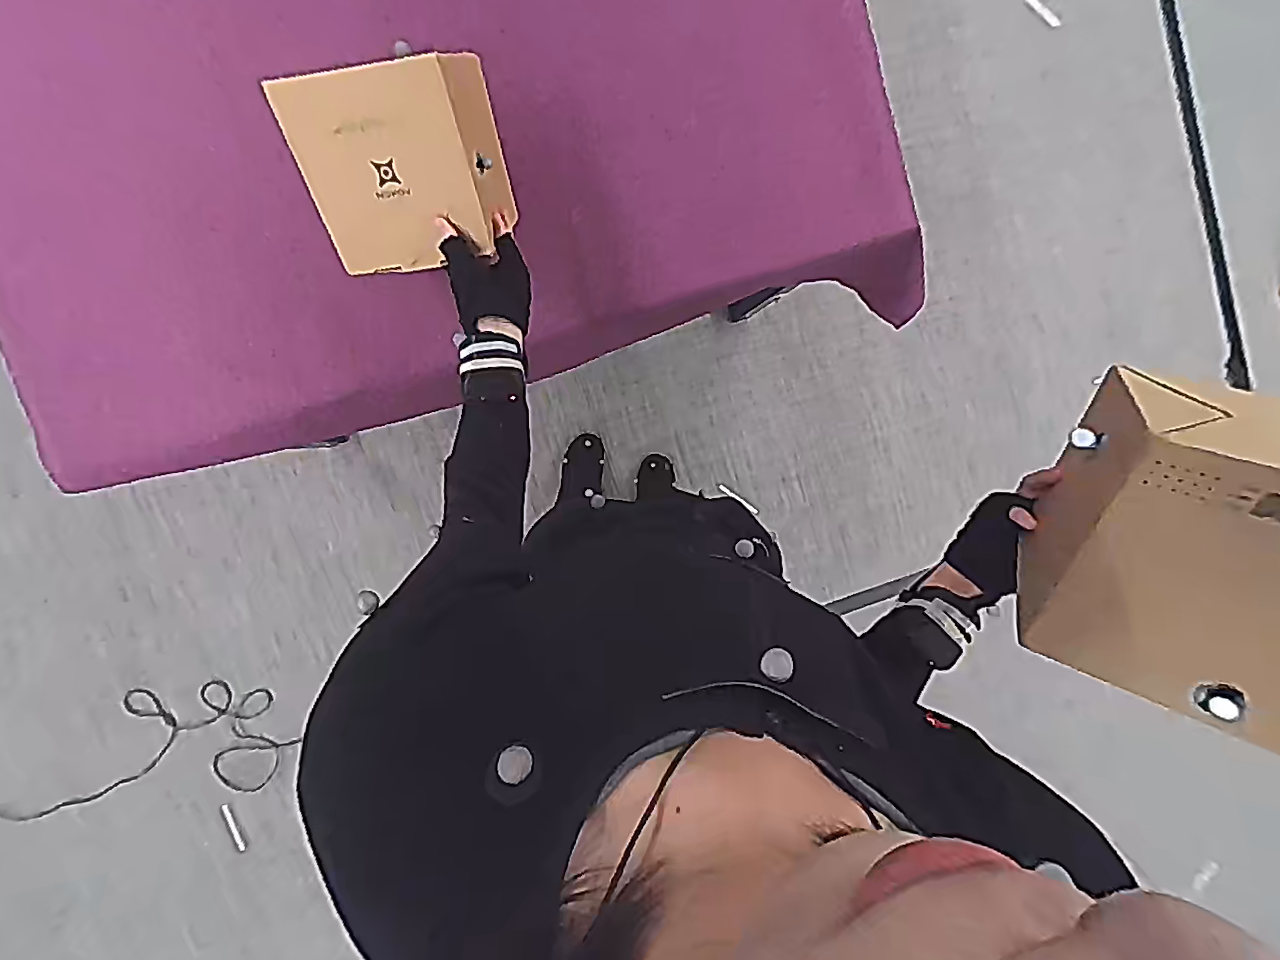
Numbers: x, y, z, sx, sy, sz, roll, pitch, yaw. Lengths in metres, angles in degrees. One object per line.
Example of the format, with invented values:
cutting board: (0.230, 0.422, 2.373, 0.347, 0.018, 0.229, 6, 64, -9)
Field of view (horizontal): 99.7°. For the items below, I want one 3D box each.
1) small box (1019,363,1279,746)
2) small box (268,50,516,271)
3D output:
small box: (0.383, 0.032, 0.359, 0.168, 0.179, 0.176, 22, 125, 25)
small box: (-0.247, -0.353, 0.597, 0.168, 0.176, 0.179, -7, 128, 4)
